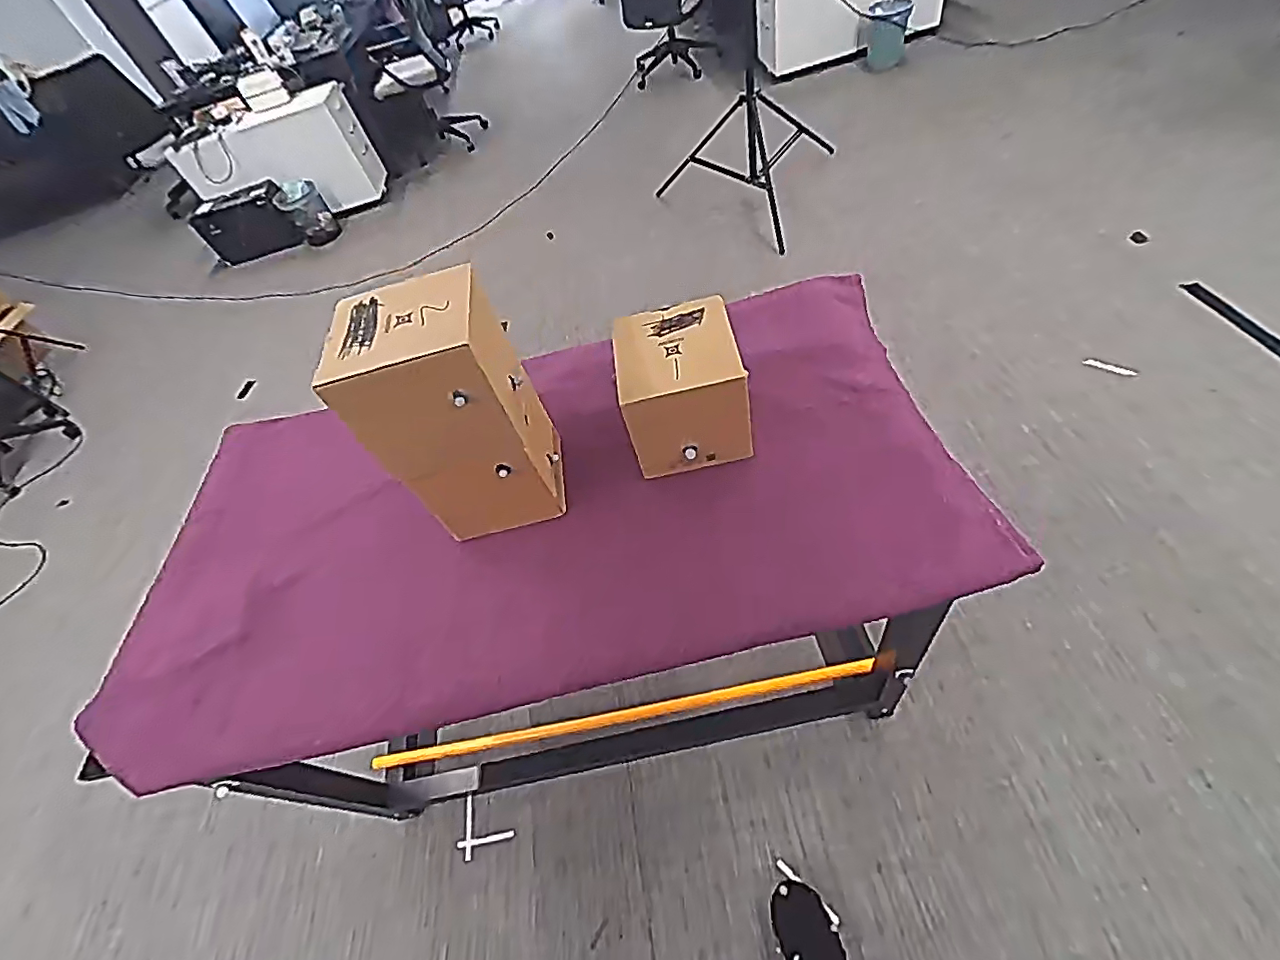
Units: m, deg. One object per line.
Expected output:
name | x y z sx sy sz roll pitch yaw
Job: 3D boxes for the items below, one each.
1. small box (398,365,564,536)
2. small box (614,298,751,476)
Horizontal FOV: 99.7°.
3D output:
small box | -0.224 -0.037 0.803 0.179 0.176 0.168 -14 51 4
small box | 0.063 -0.132 0.795 0.168 0.176 0.179 -12 52 7
